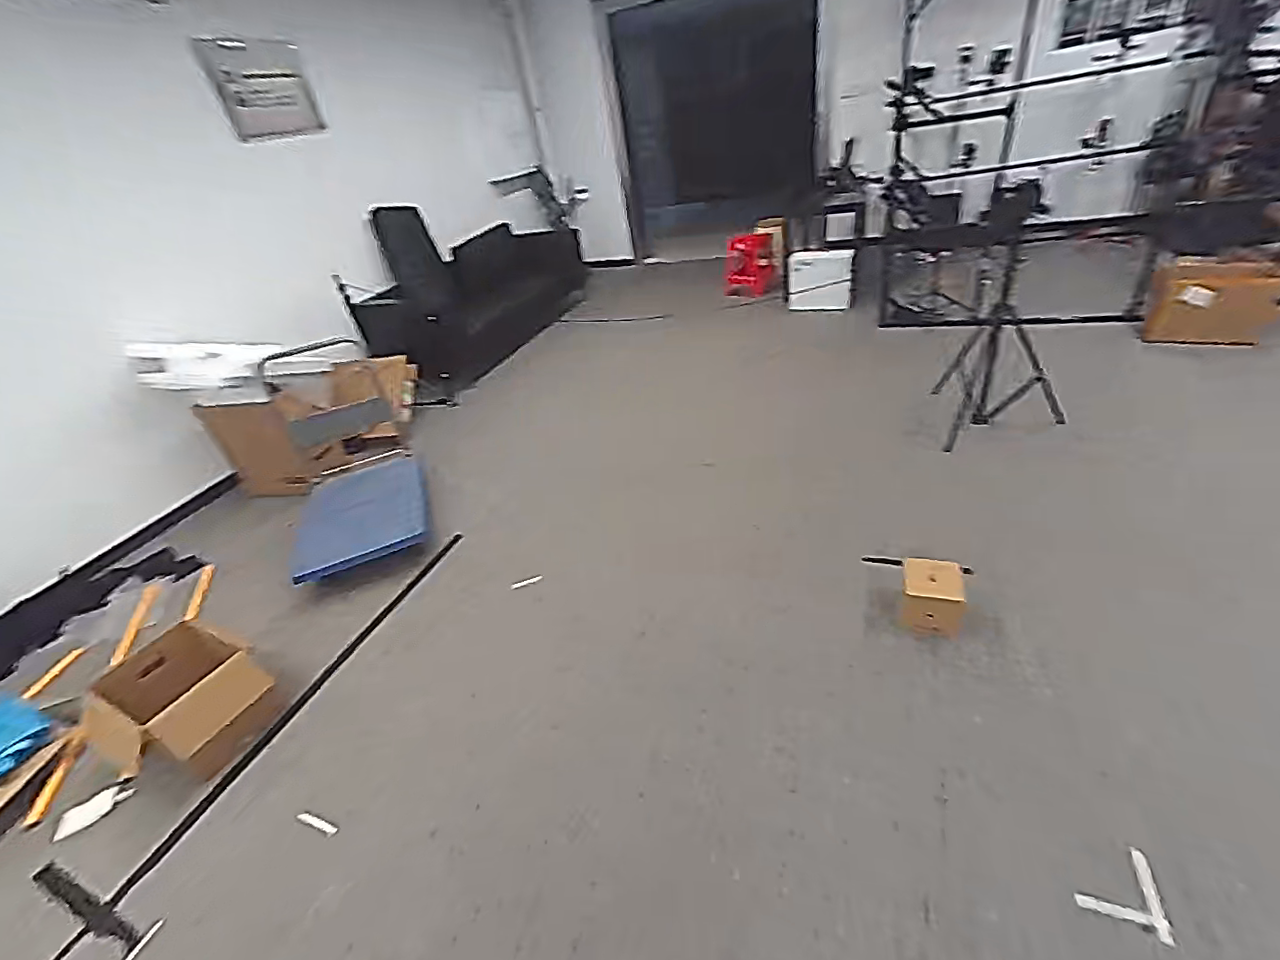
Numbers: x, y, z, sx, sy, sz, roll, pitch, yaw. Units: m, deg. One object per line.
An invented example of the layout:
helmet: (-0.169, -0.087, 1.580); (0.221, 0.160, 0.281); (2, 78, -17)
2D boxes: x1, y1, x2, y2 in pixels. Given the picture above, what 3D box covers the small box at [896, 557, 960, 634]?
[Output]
small box: (0.945, 0.382, 1.782); (0.168, 0.176, 0.179); (4, 36, 21)
